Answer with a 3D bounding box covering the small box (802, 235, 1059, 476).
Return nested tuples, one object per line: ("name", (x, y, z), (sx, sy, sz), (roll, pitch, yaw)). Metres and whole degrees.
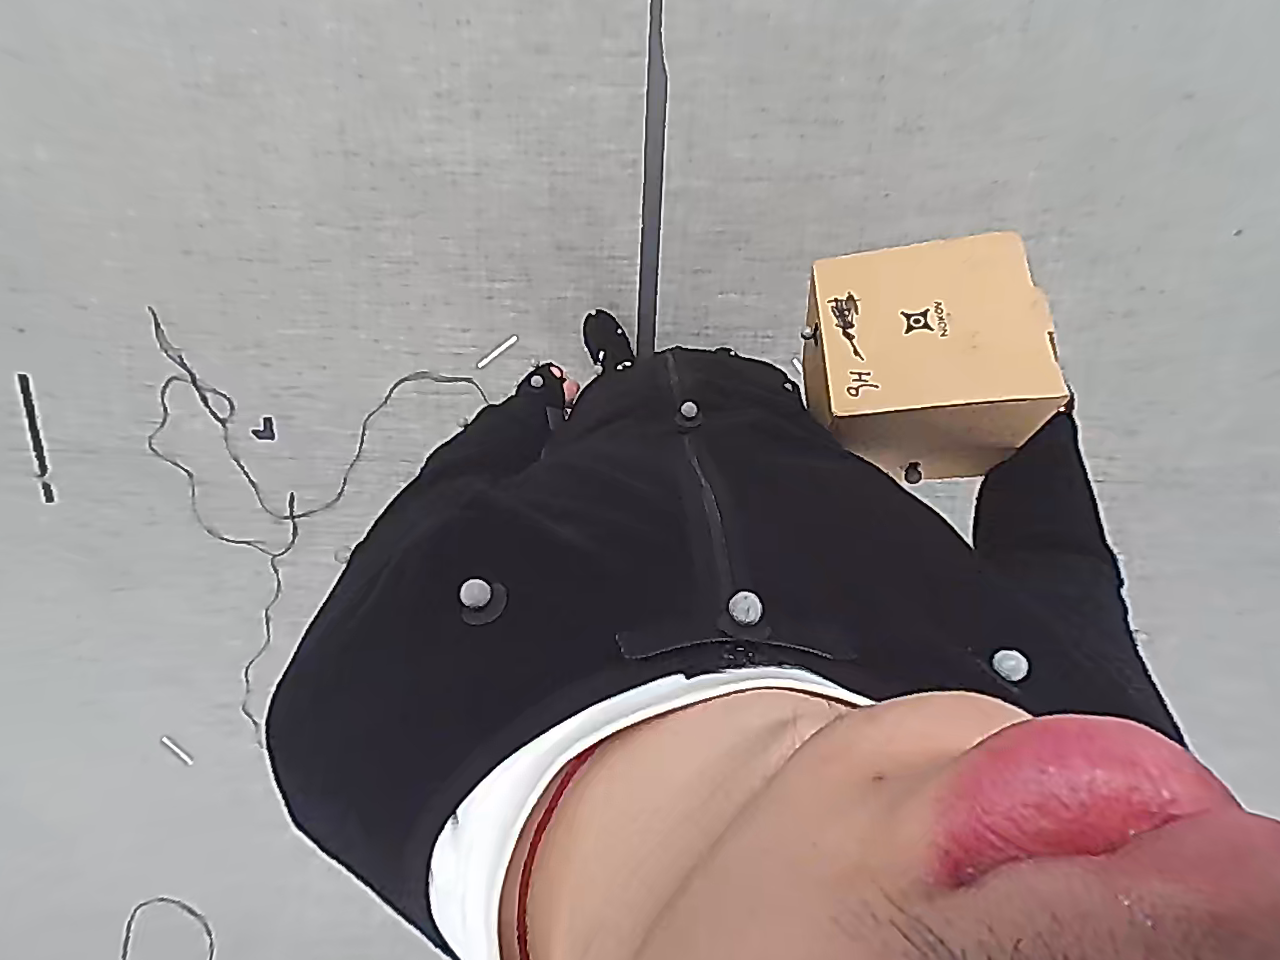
("small box", (0.266, -0.111, 0.545), (0.179, 0.176, 0.168), (-3, 68, 12))
